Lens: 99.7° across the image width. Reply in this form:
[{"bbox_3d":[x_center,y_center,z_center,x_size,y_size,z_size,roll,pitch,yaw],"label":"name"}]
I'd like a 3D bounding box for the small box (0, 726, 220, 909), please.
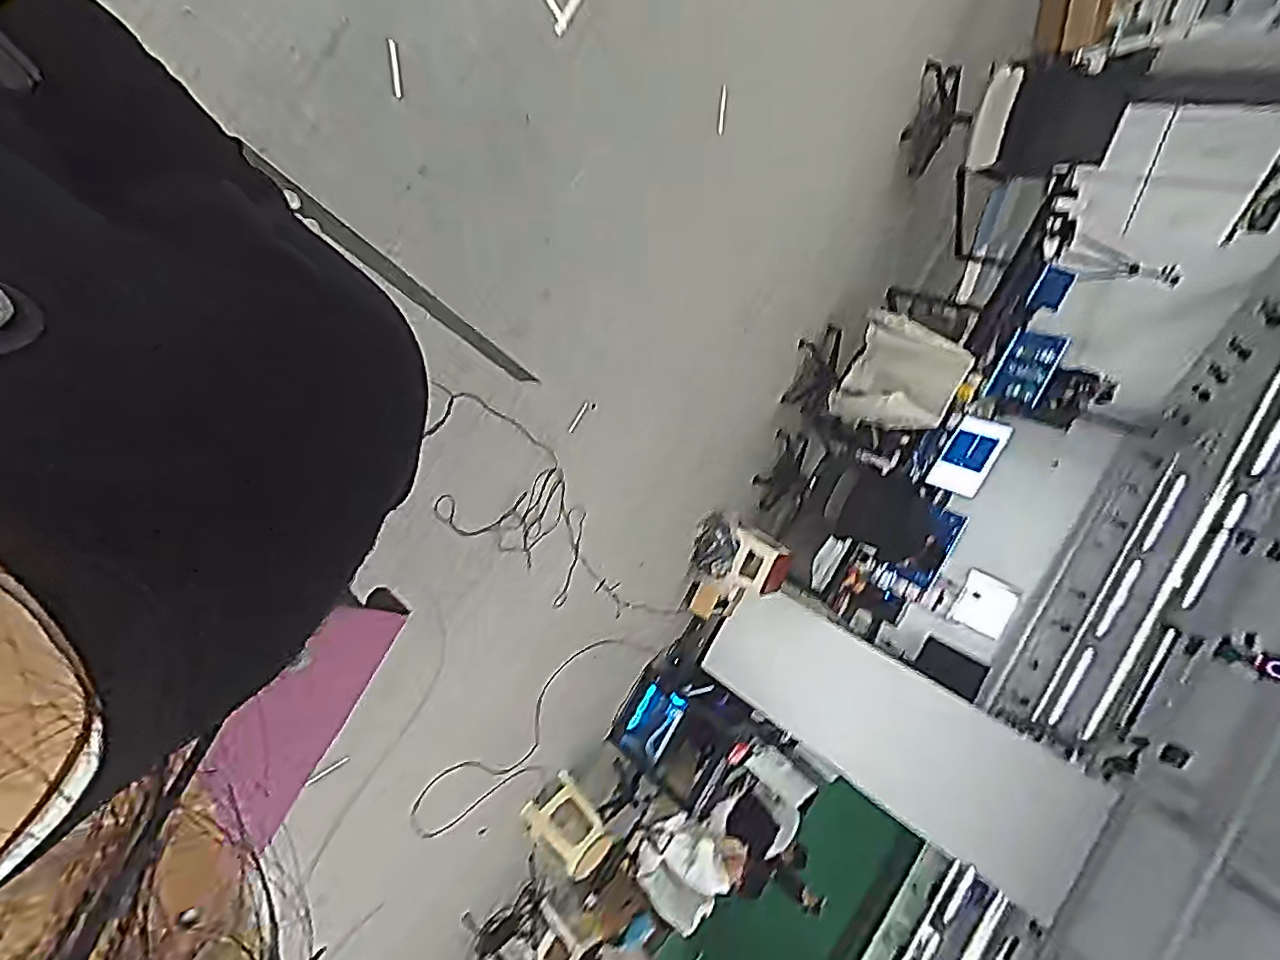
[{"bbox_3d":[-0.681,0.426,0.670,0.179,0.176,0.168,-58,147,-4],"label":"small box"}]

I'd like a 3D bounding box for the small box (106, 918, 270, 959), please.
[{"bbox_3d":[-0.444,0.561,0.486,0.179,0.176,0.168,-59,147,-4],"label":"small box"}]

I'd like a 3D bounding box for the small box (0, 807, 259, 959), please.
[{"bbox_3d":[-0.564,0.498,0.580,0.179,0.176,0.168,-58,147,-3],"label":"small box"}]
